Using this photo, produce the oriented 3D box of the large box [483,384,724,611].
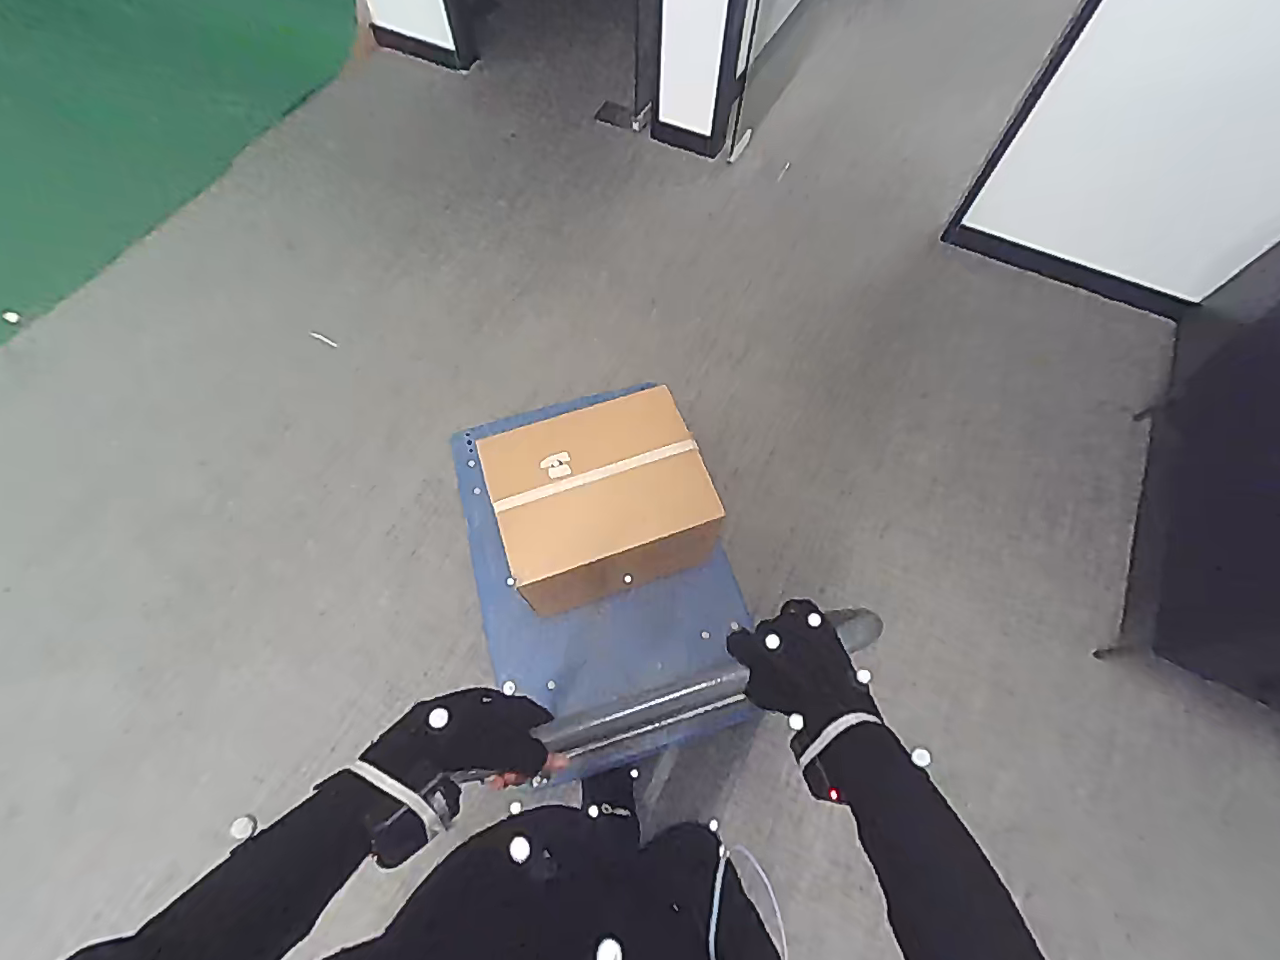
[{"bbox_3d":[-0.075,0.052,1.184,0.408,0.320,0.320,-19,67,-8],"label":"large box"}]
